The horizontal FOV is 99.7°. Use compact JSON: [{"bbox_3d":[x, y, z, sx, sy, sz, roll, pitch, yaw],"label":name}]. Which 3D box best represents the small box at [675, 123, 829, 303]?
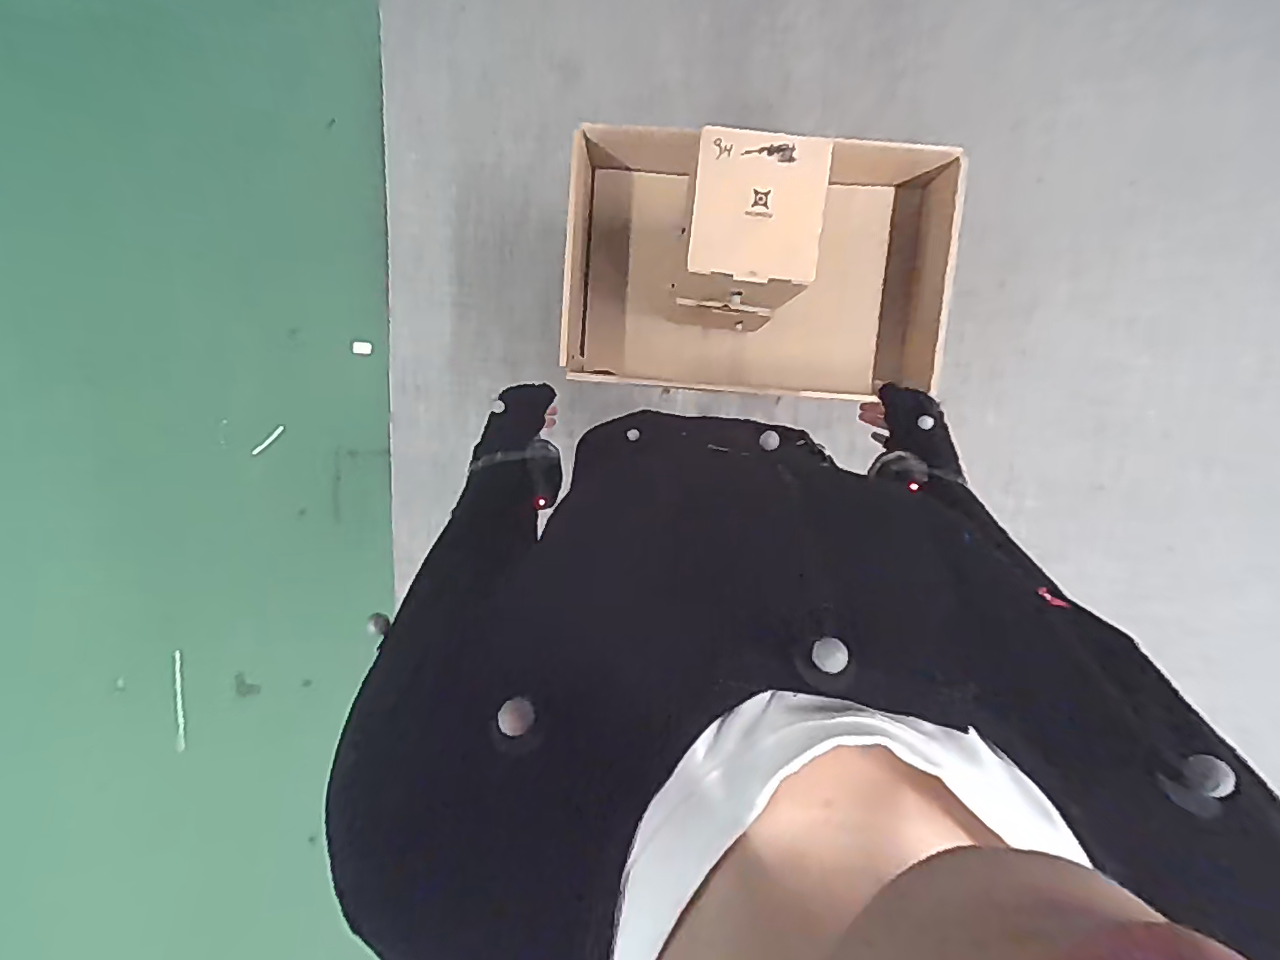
[{"bbox_3d":[0.142,-0.354,0.753,0.168,0.176,0.179,6,98,-2],"label":"small box"}]

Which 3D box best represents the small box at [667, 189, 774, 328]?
[{"bbox_3d":[0.138,-0.365,0.917,0.168,0.176,0.179,6,95,-2],"label":"small box"}]
